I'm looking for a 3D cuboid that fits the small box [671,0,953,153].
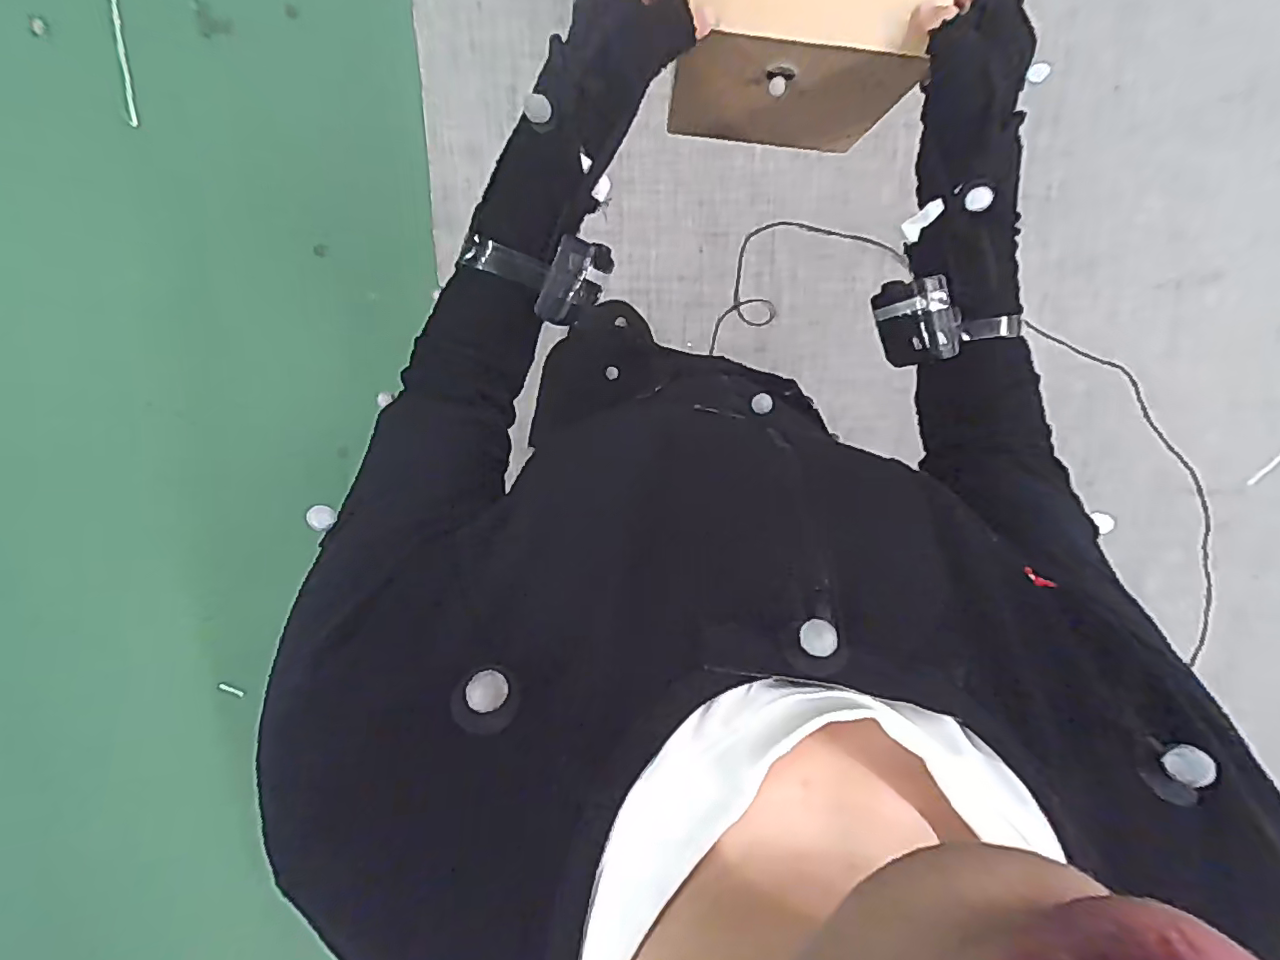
[{"bbox_3d":[0.122,-0.381,0.422,0.179,0.176,0.168,5,102,-3],"label":"small box"}]
